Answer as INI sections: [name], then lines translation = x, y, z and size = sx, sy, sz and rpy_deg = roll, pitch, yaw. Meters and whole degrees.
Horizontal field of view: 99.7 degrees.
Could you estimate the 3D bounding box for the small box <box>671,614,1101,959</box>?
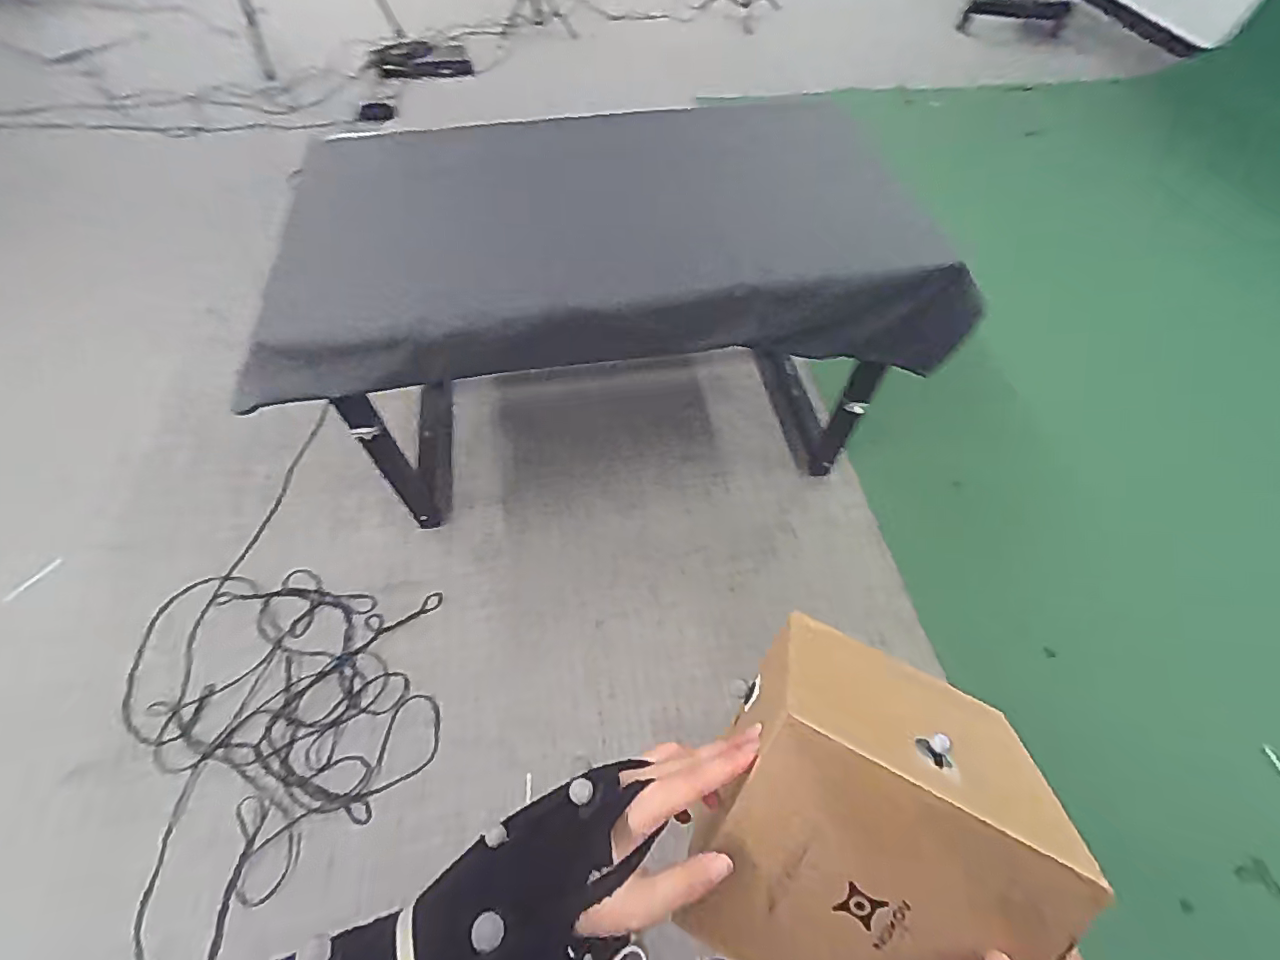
[small box]
translation = 0.147, 0.219, 0.378
size = 0.179, 0.176, 0.168
rpy_deg = 24, 102, 13
